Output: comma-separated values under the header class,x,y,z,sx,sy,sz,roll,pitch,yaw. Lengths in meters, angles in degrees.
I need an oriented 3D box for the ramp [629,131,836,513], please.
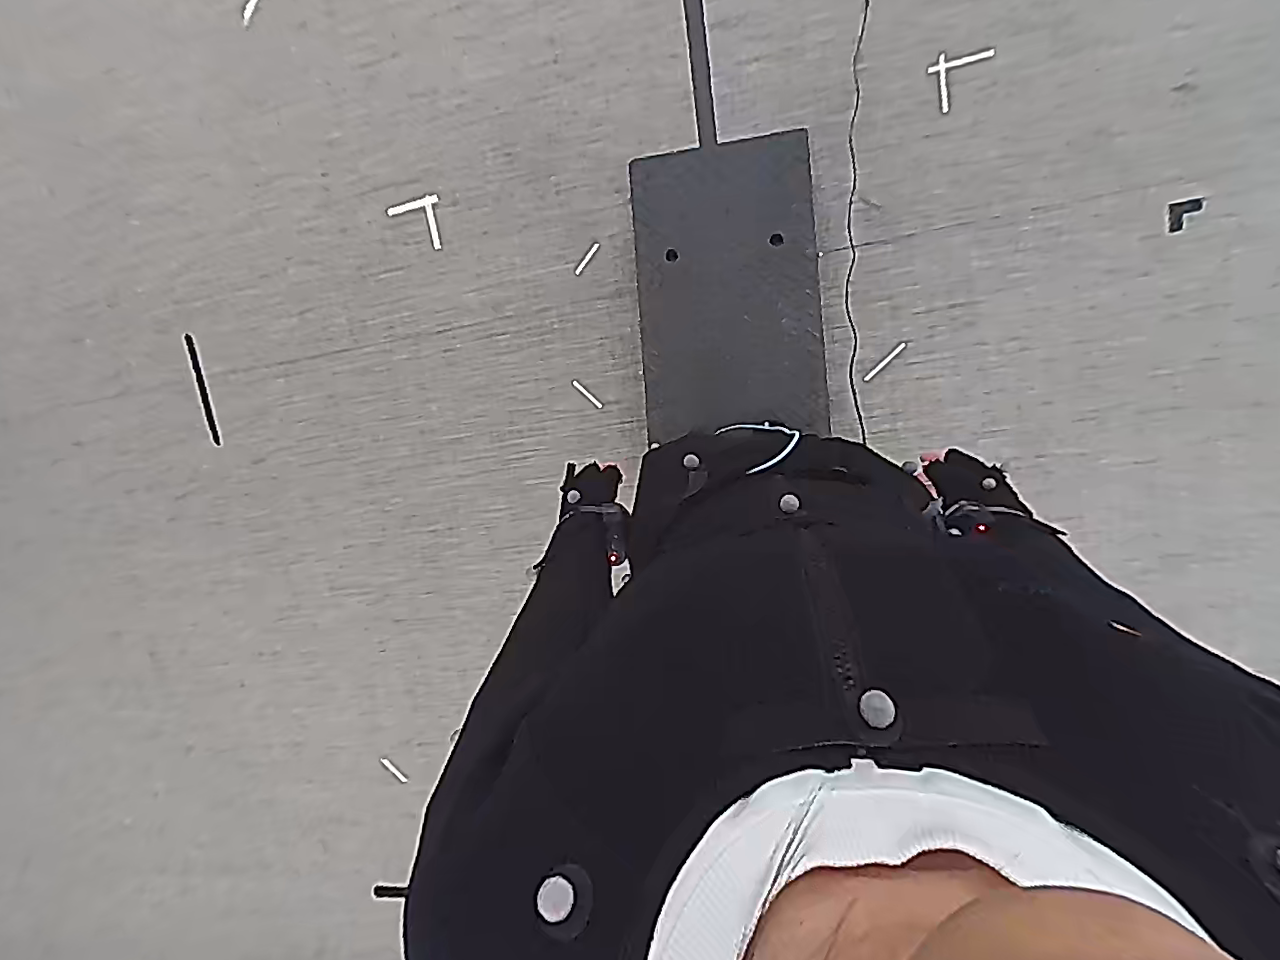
class,x,y,z,sx,sy,sz,roll,pitch,yaw
ramp,0.238,-0.420,1.475,0.509,0.206,0.991,-6,97,12
